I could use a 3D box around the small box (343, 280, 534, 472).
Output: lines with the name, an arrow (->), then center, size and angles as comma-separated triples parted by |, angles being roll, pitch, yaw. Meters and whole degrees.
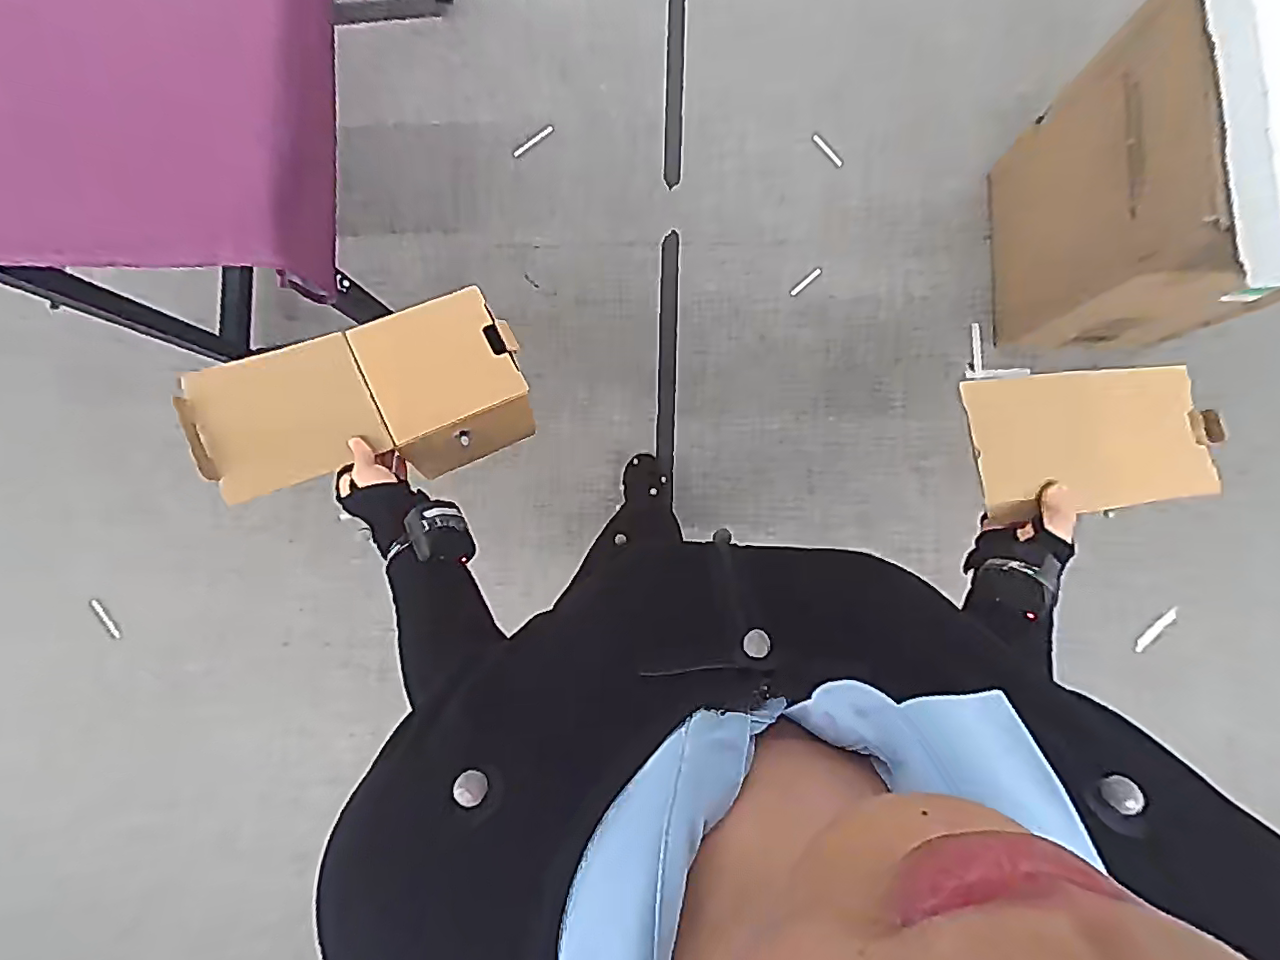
small box -> -0.257, -0.130, 0.734 | 0.179, 0.176, 0.168 | -26, 82, -13
